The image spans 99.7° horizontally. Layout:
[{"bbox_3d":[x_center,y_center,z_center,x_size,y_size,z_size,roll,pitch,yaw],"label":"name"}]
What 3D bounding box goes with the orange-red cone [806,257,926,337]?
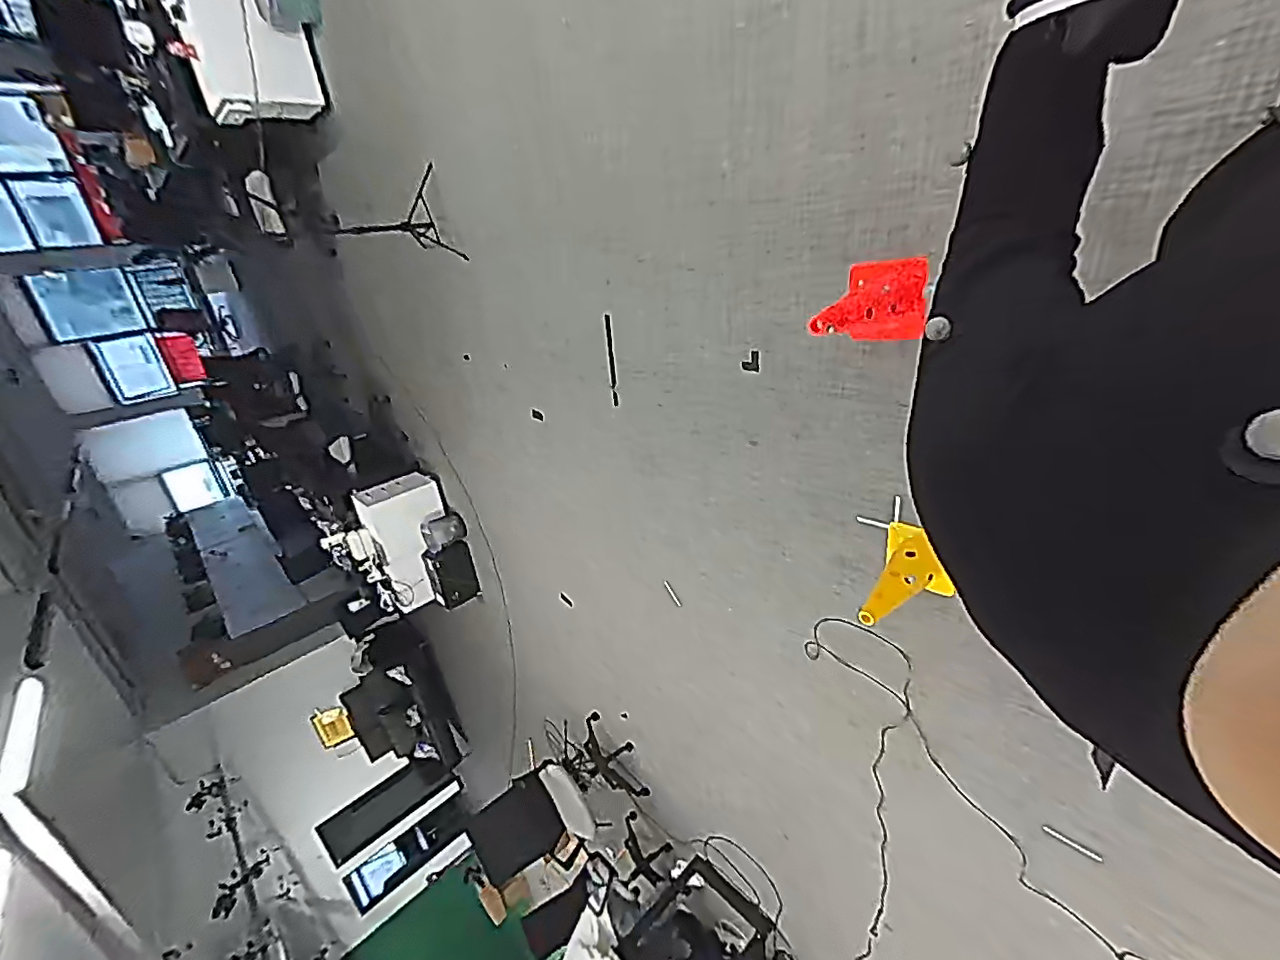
[{"bbox_3d":[0.519,-0.409,1.315,0.198,0.360,0.199,17,125,46],"label":"orange-red cone"}]
